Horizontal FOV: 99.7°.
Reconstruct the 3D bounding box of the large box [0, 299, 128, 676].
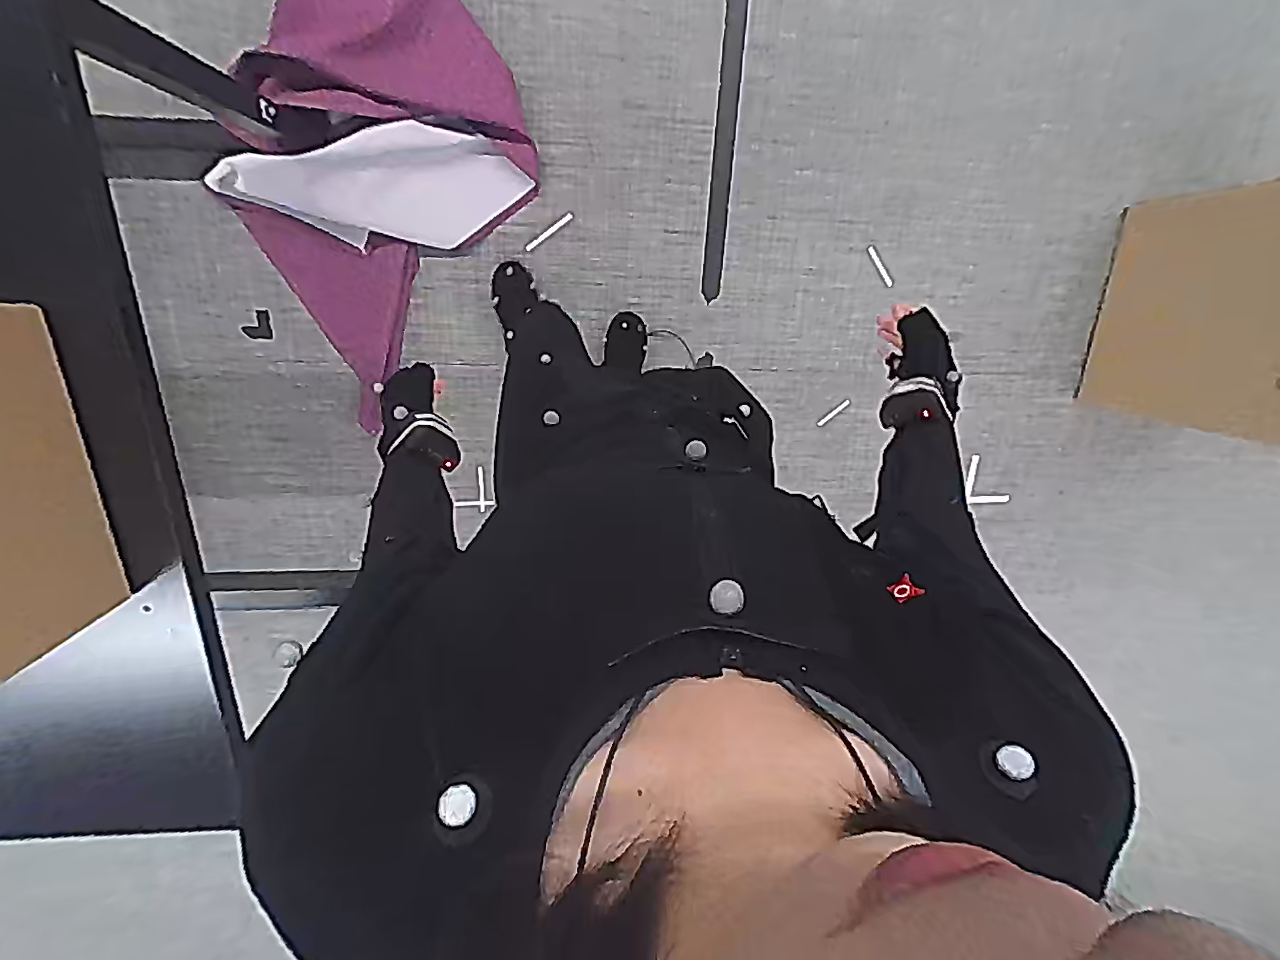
[{"bbox_3d":[-0.852,0.026,0.547,0.320,0.320,0.408,-1,108,-6],"label":"large box"}]
